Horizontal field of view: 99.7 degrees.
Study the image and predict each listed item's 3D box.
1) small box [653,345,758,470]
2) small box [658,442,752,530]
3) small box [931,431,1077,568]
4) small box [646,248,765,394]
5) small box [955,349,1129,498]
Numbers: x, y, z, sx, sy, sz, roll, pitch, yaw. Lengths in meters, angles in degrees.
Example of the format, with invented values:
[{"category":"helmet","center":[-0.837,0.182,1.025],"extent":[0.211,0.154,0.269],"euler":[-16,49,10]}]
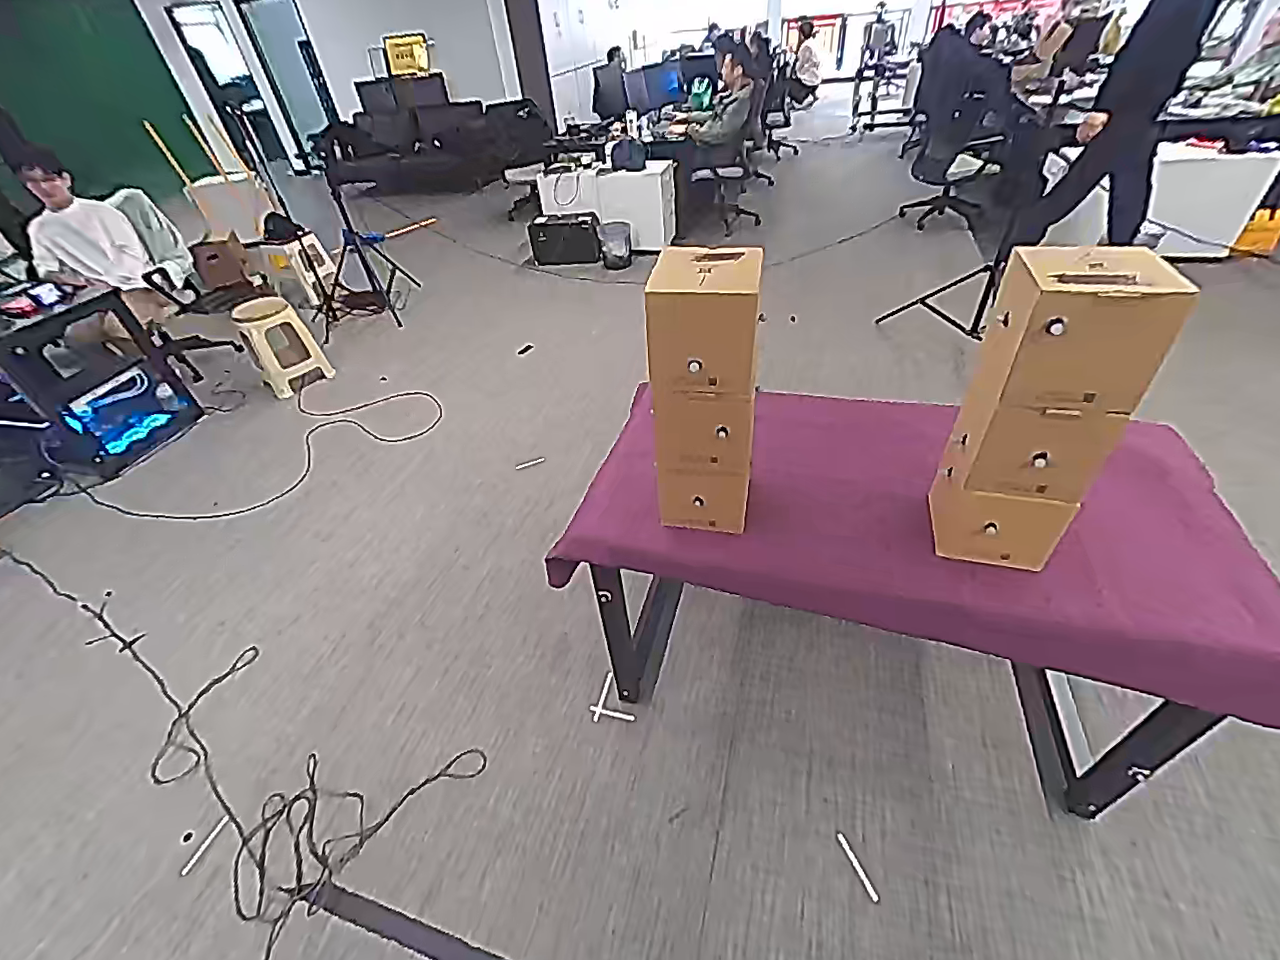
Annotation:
[{"category":"small box","center":[0.124,-0.136,0.984],"extent":[0.168,0.176,0.179],"euler":[5,41,11]},{"category":"small box","center":[0.137,-0.019,1.096],"extent":[0.168,0.176,0.179],"euler":[6,41,12]},{"category":"small box","center":[0.640,0.035,0.976],"extent":[0.168,0.176,0.179],"euler":[8,42,16]},{"category":"small box","center":[0.109,-0.259,0.876],"extent":[0.168,0.176,0.179],"euler":[5,43,11]},{"category":"small box","center":[0.628,-0.091,0.872],"extent":[0.168,0.176,0.179],"euler":[8,43,17]}]
